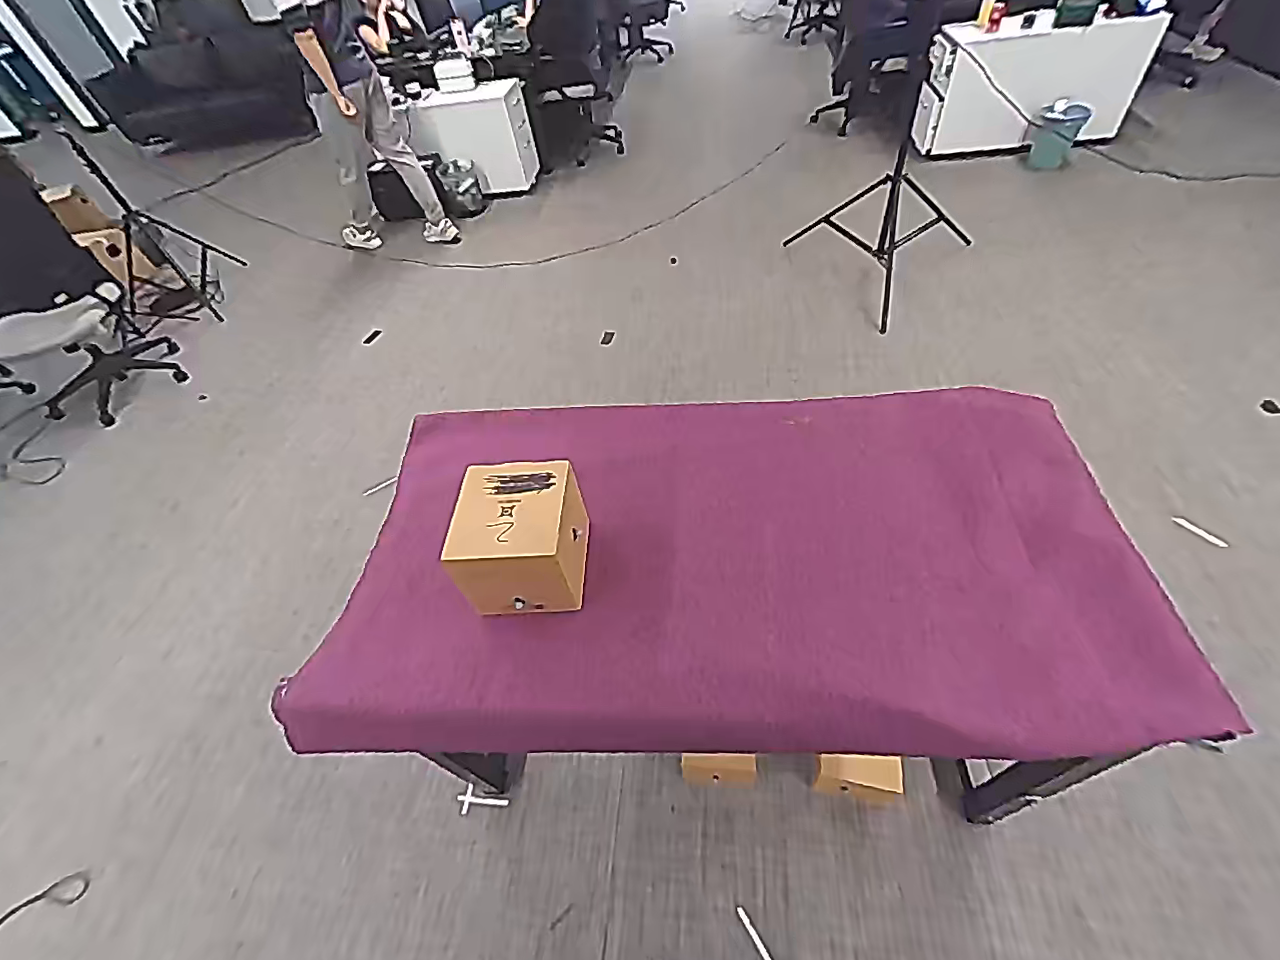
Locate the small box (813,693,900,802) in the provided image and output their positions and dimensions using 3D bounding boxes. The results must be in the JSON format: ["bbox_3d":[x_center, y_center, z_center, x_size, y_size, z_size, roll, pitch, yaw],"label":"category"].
[{"bbox_3d":[0.498,0.624,1.255,0.168,0.176,0.179,6,50,15],"label":"small box"}]

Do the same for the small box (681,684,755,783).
[{"bbox_3d":[0.194,0.617,1.308,0.168,0.176,0.179,1,49,10],"label":"small box"}]
